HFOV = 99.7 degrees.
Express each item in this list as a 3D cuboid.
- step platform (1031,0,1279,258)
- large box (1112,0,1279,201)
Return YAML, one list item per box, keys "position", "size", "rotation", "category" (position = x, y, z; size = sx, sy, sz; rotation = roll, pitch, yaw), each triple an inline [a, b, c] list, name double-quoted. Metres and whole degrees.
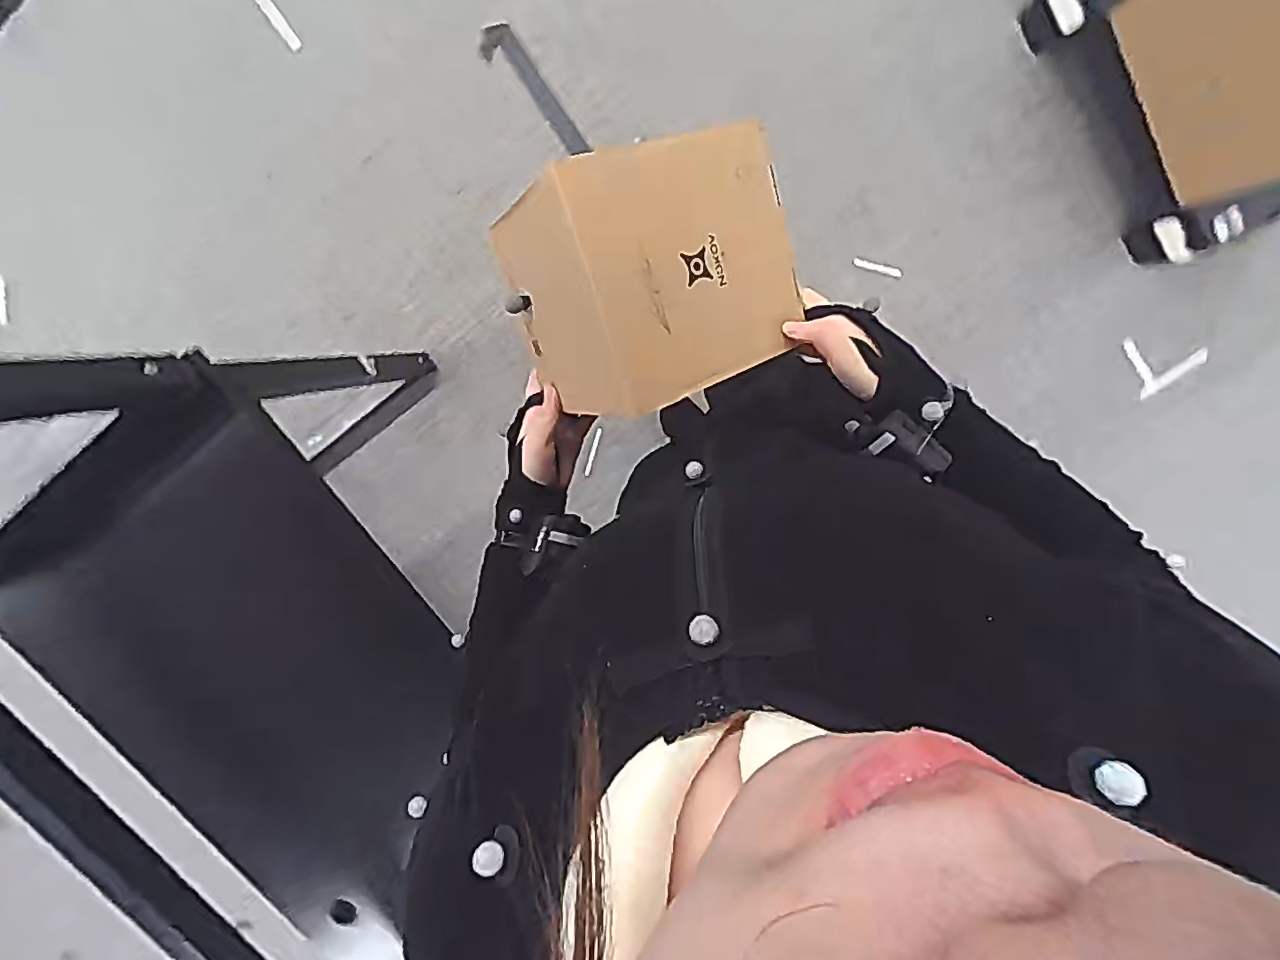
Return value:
- position: [1.115, -0.840, 1.122]
  size: [0.286, 0.204, 0.684]
  rotation: [-29, 99, 10]
  category: "step platform"
- position: [1.118, -0.765, 0.894]
  size: [0.320, 0.320, 0.408]
  rotation: [-31, 99, 9]
  category: "large box"
